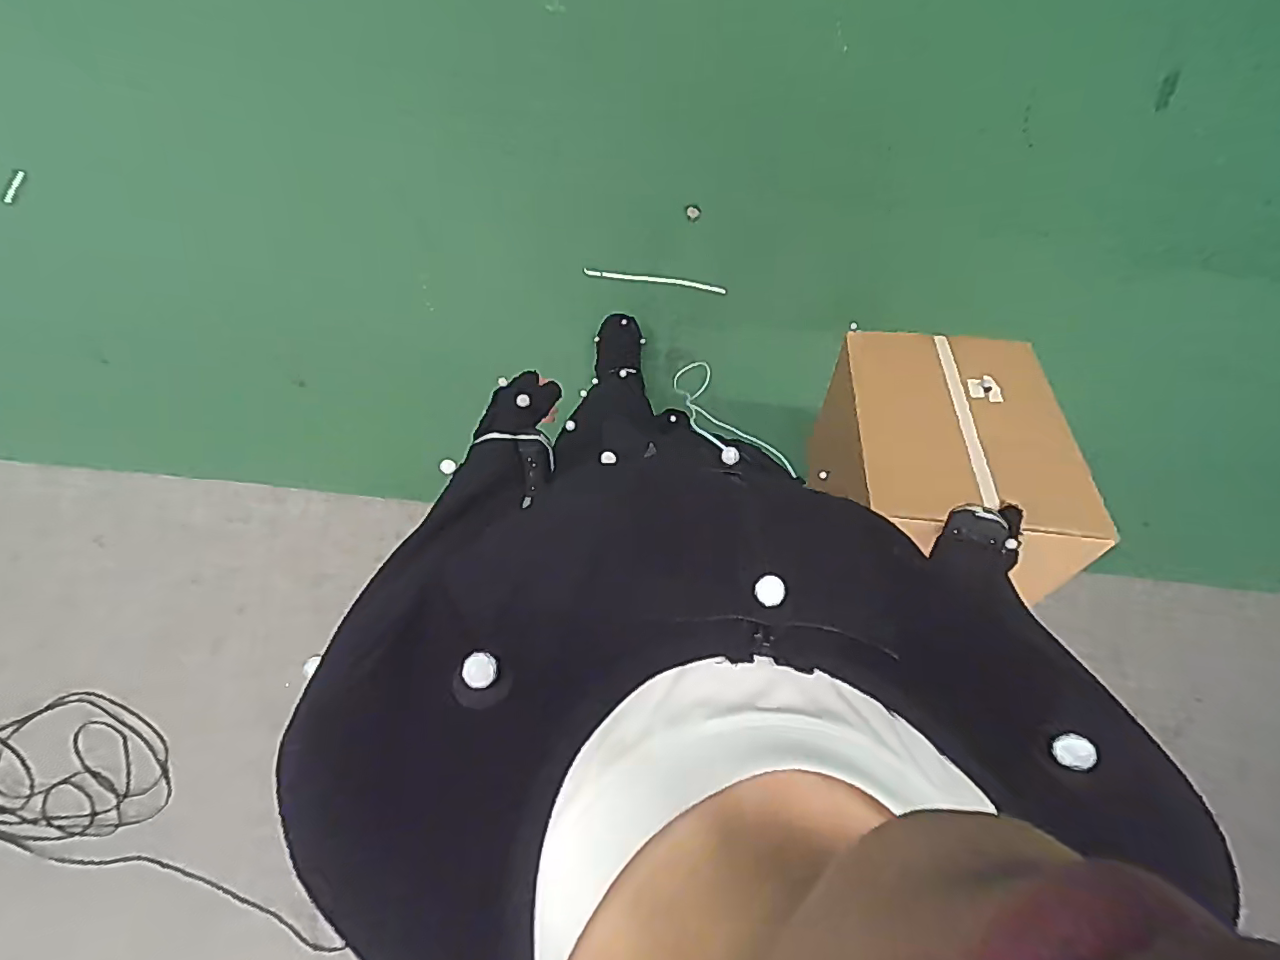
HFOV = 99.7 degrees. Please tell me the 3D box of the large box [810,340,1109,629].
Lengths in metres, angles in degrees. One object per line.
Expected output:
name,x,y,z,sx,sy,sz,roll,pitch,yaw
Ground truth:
large box,0.499,0.007,0.961,0.320,0.408,0.320,6,142,6
